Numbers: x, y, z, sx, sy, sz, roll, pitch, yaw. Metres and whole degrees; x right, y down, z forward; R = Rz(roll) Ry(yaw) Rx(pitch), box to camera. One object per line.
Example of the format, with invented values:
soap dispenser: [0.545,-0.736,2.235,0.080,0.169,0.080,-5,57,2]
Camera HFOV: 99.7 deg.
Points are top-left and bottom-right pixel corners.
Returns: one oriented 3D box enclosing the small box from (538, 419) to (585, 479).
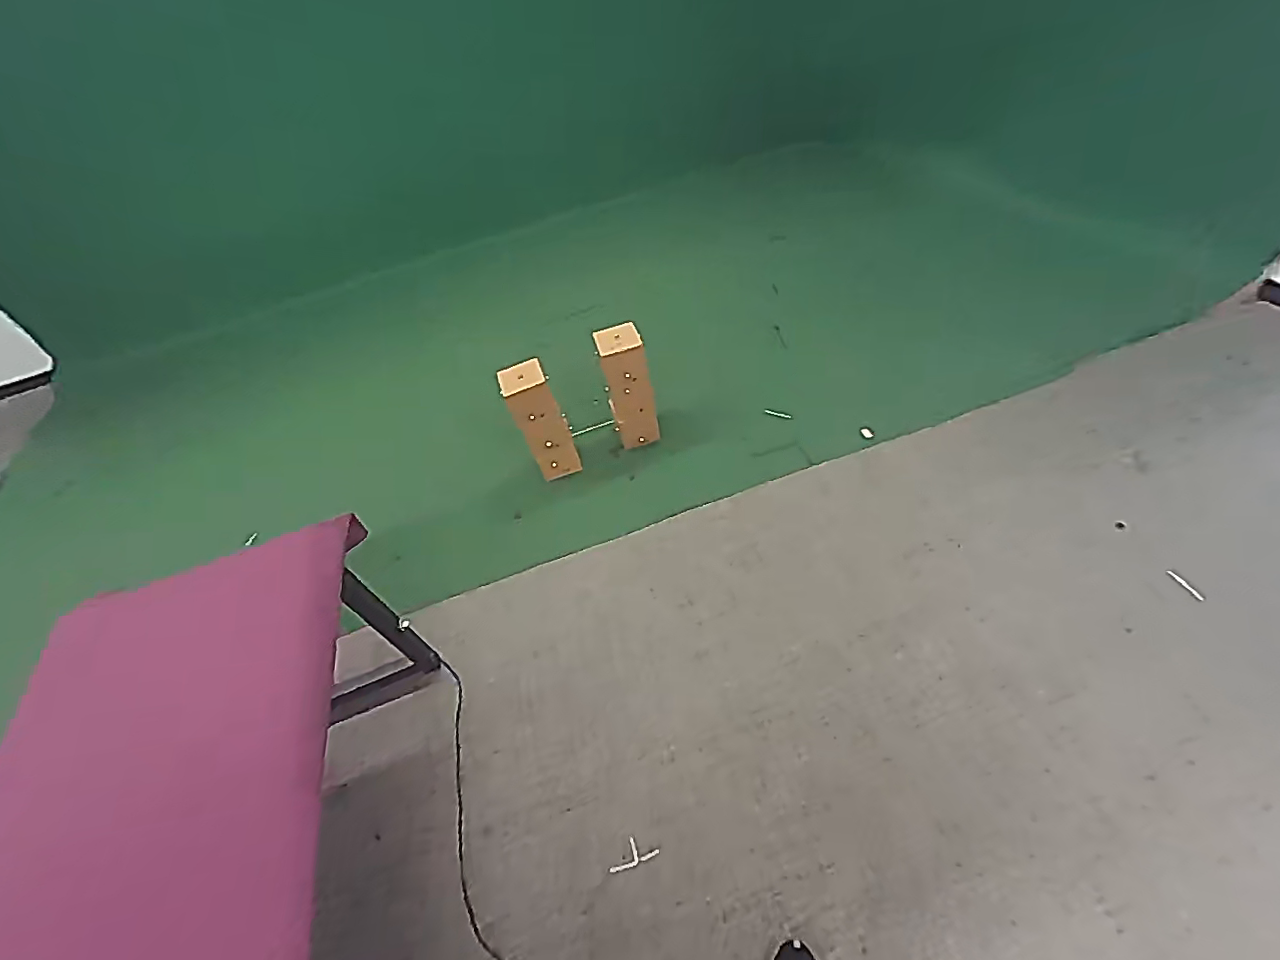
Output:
small box: [-0.346,-0.127,2.329,0.168,0.176,0.179,-19,46,-3]

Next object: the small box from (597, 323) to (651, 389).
small box: [-0.062,-0.486,2.132,0.168,0.176,0.179,-17,48,-2]

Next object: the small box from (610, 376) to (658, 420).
small box: [-0.032,-0.381,2.255,0.168,0.176,0.179,-17,47,-2]

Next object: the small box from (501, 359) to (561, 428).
small box: [-0.419,-0.332,2.085,0.168,0.176,0.179,-22,47,-4]

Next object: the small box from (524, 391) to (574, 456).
small box: [-0.382,-0.228,2.204,0.168,0.176,0.179,-21,47,-5]
